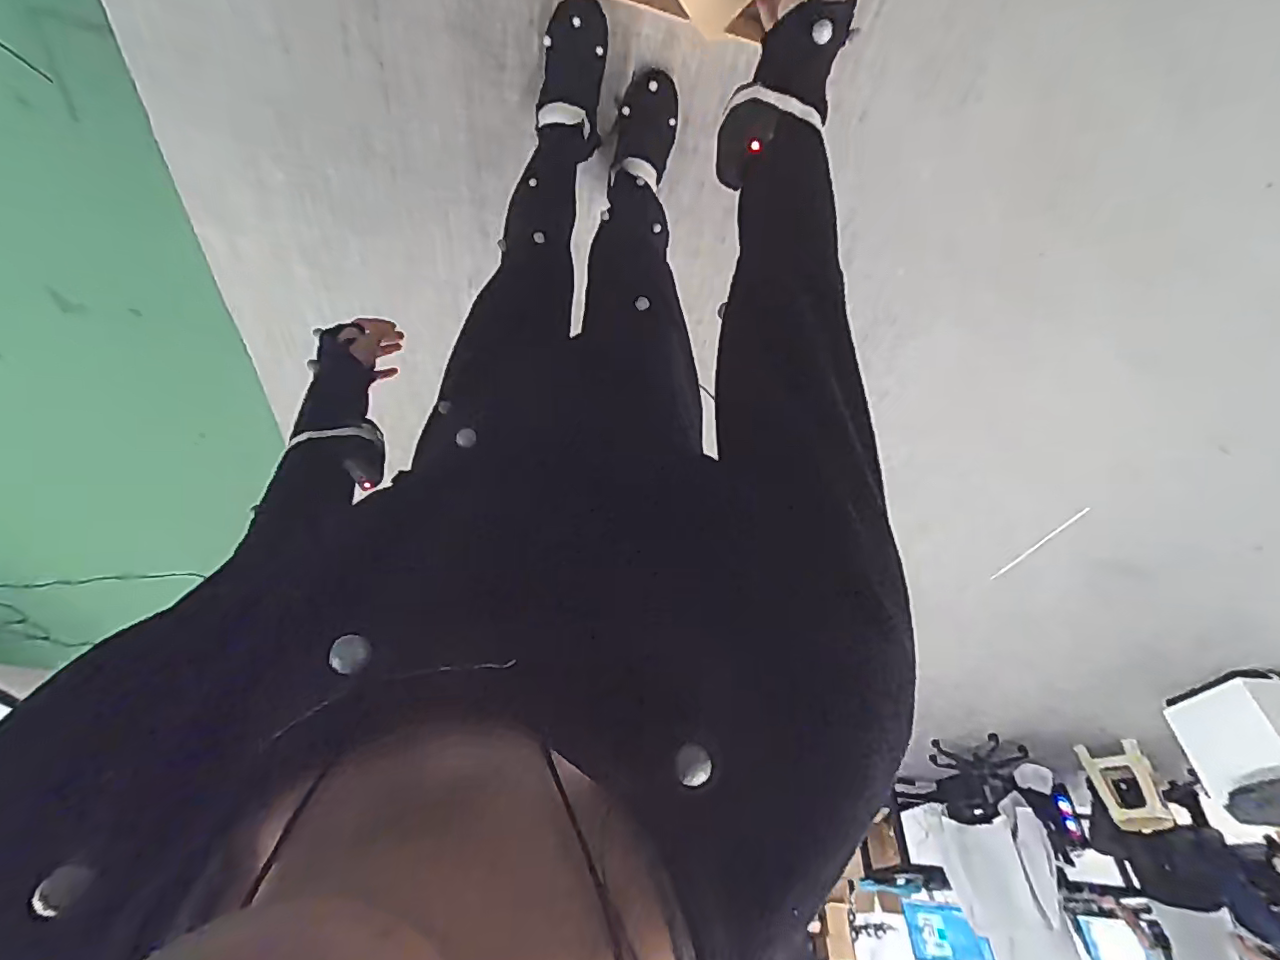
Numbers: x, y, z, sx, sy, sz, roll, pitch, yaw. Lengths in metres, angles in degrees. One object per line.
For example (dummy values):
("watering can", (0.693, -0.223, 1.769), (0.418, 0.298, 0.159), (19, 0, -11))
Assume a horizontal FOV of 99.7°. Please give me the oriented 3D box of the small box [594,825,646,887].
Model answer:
("small box", (-0.075, 1.430, 2.060), (0.179, 0.176, 0.168), (7, 139, -2))
